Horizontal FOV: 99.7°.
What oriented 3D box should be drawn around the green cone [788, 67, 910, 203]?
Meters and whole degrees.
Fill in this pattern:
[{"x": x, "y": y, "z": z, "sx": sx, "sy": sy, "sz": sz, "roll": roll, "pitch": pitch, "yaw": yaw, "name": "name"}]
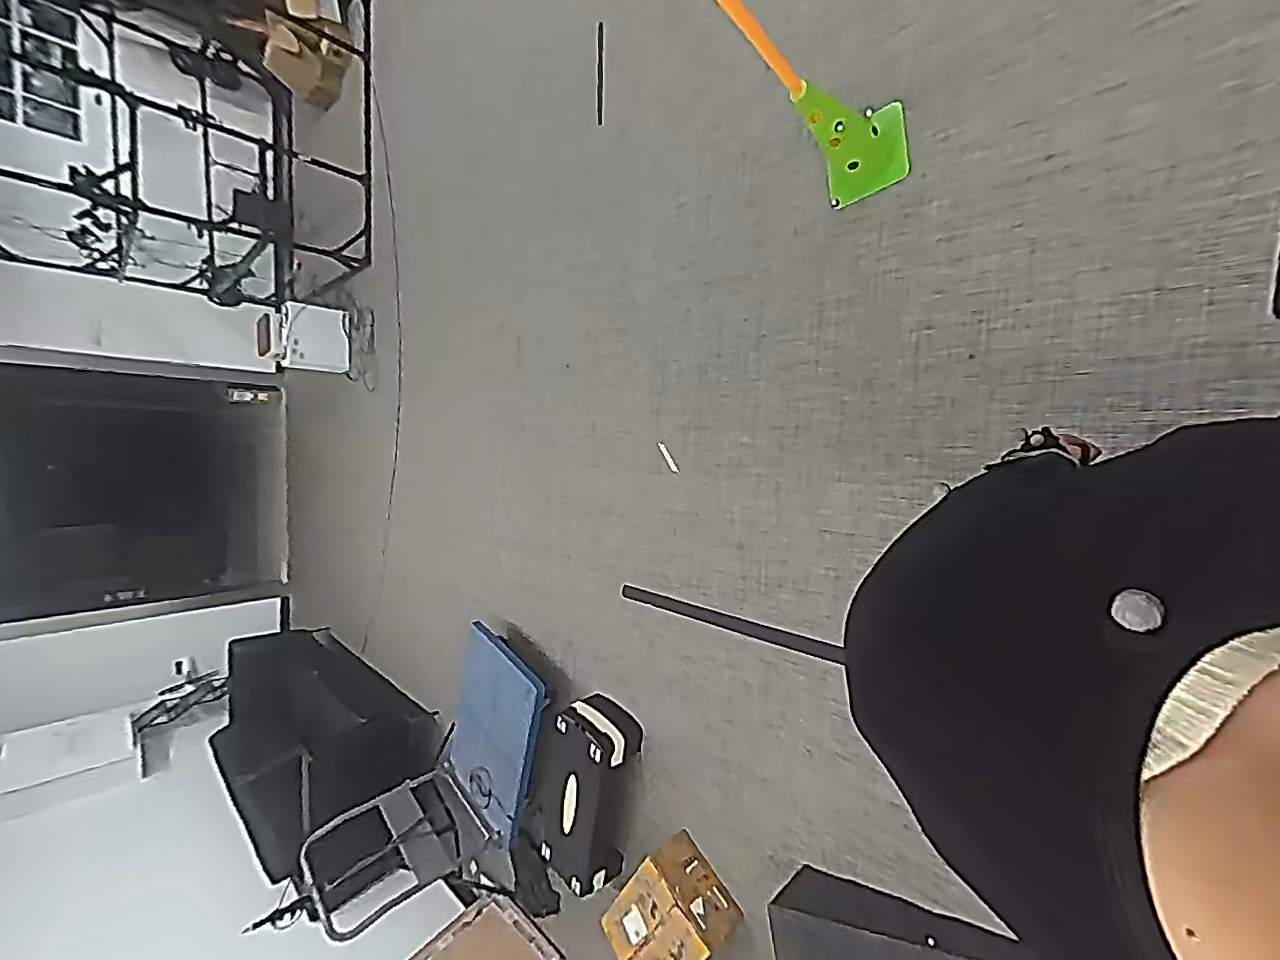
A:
[{"x": 0.458, "y": -0.840, "z": 1.260, "sx": 0.200, "sy": 0.368, "sz": 0.202, "roll": -9, "pitch": 83, "yaw": 44, "name": "green cone"}]
